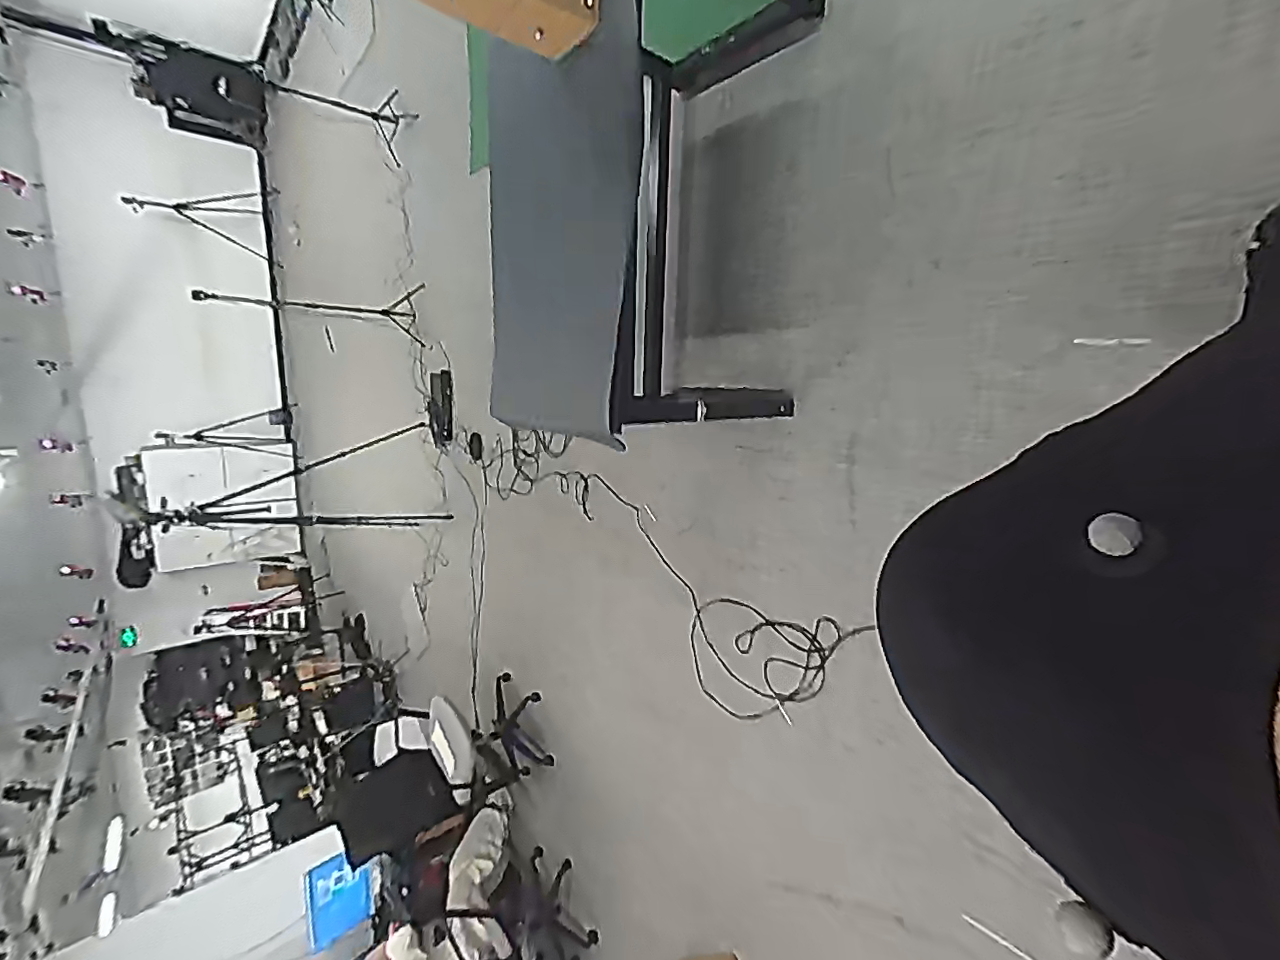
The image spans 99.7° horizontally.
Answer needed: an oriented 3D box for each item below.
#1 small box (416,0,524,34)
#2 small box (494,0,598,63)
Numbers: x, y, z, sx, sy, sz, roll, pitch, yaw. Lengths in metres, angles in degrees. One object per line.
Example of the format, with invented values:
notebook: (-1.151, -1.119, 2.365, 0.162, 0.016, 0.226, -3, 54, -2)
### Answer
small box: (-0.320, -1.004, 1.026, 0.179, 0.176, 0.168, 8, 104, 50)
small box: (-0.197, -1.023, 1.130, 0.179, 0.176, 0.168, 15, 108, 50)
